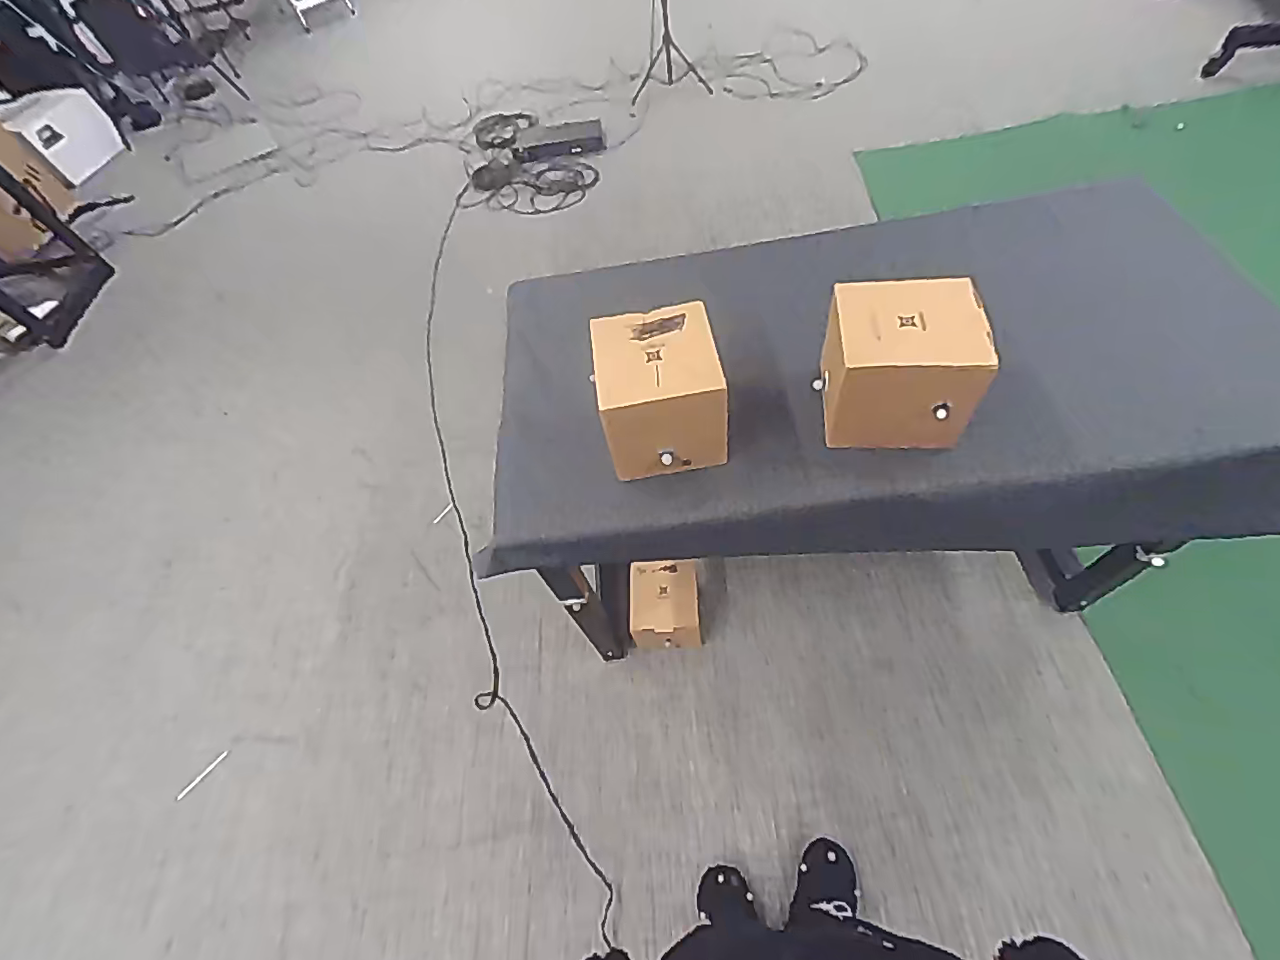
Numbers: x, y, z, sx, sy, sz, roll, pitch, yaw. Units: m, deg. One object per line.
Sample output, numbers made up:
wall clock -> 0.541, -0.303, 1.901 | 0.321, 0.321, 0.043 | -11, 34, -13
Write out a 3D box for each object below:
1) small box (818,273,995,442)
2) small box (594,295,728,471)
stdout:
small box -> 0.357, -0.167, 0.765 | 0.179, 0.176, 0.168 | 0, 56, 10
small box -> 0.030, -0.138, 0.792 | 0.168, 0.176, 0.179 | -10, 56, 3
